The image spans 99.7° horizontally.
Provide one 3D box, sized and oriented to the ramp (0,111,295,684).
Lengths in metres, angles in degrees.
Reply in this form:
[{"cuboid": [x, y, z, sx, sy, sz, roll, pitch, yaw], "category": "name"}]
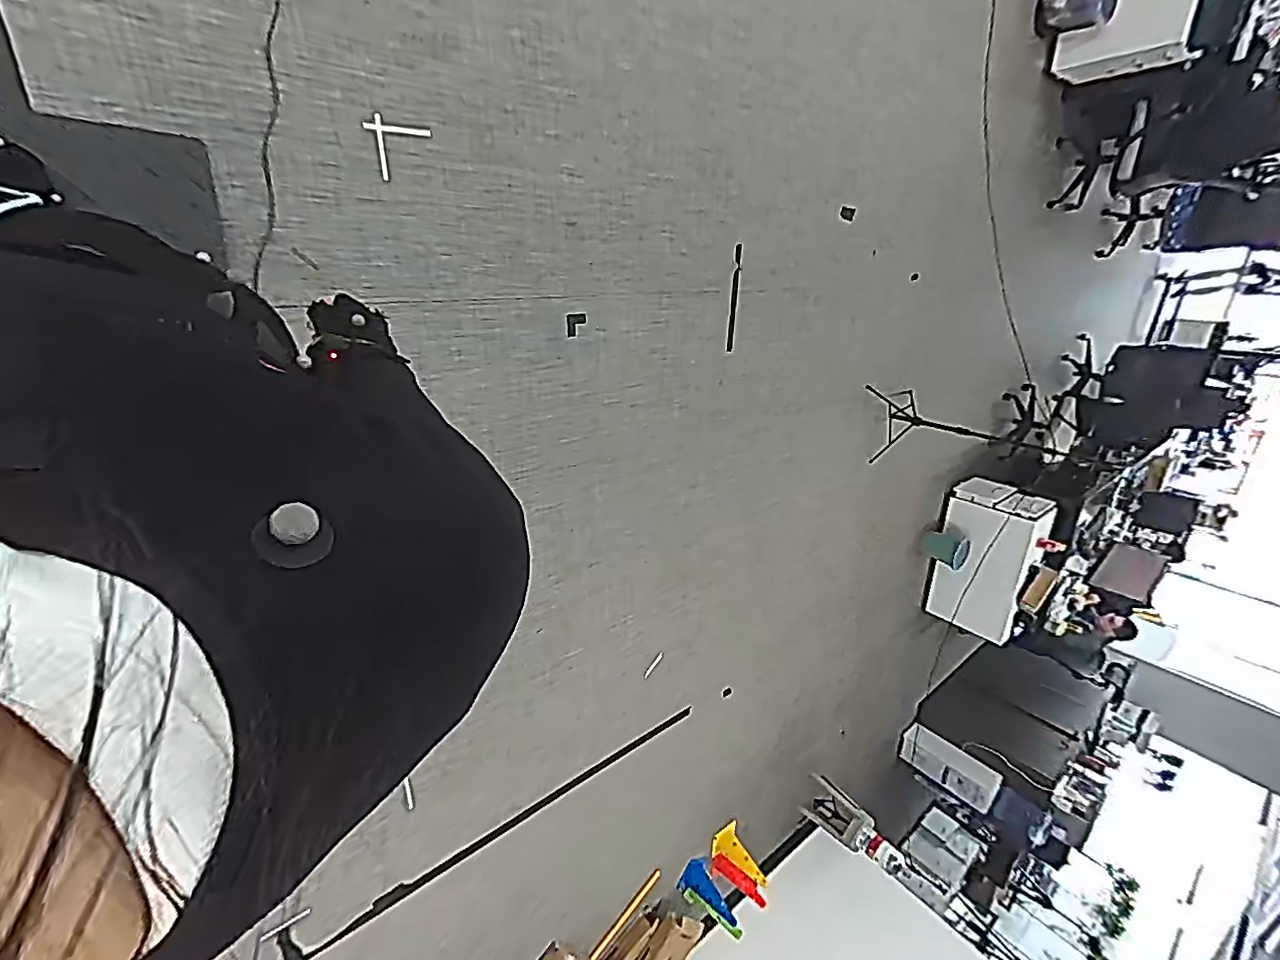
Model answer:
[{"cuboid": [-1.044, -0.149, 1.038, 0.509, 0.206, 0.991, -14, 115, -35], "category": "ramp"}]
